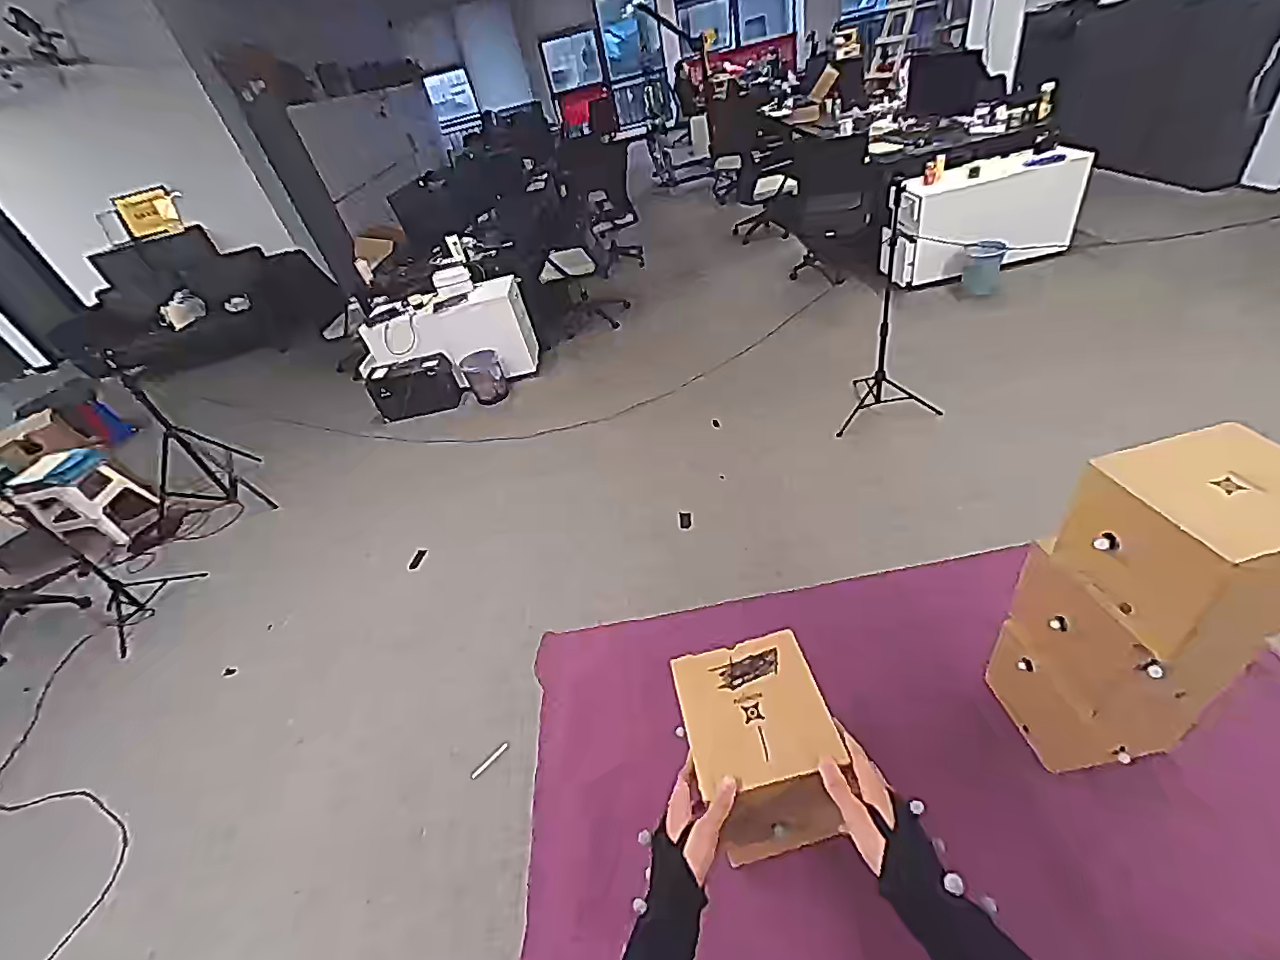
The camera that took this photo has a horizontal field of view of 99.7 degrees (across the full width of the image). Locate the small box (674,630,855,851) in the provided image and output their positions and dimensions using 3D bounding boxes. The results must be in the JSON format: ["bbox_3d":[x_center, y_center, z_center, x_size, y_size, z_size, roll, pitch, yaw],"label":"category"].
[{"bbox_3d":[0.148,0.324,0.677,0.168,0.176,0.179,-15,39,0],"label":"small box"}]

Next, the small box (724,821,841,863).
[{"bbox_3d":[0.185,0.431,0.799,0.179,0.176,0.168,-16,38,-2],"label":"small box"}]

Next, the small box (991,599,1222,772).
[{"bbox_3d":[0.664,0.302,0.800,0.179,0.176,0.168,-13,38,2],"label":"small box"}]

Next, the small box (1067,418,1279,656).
[{"bbox_3d":[0.608,0.063,0.582,0.179,0.176,0.168,-15,38,0],"label":"small box"}]
